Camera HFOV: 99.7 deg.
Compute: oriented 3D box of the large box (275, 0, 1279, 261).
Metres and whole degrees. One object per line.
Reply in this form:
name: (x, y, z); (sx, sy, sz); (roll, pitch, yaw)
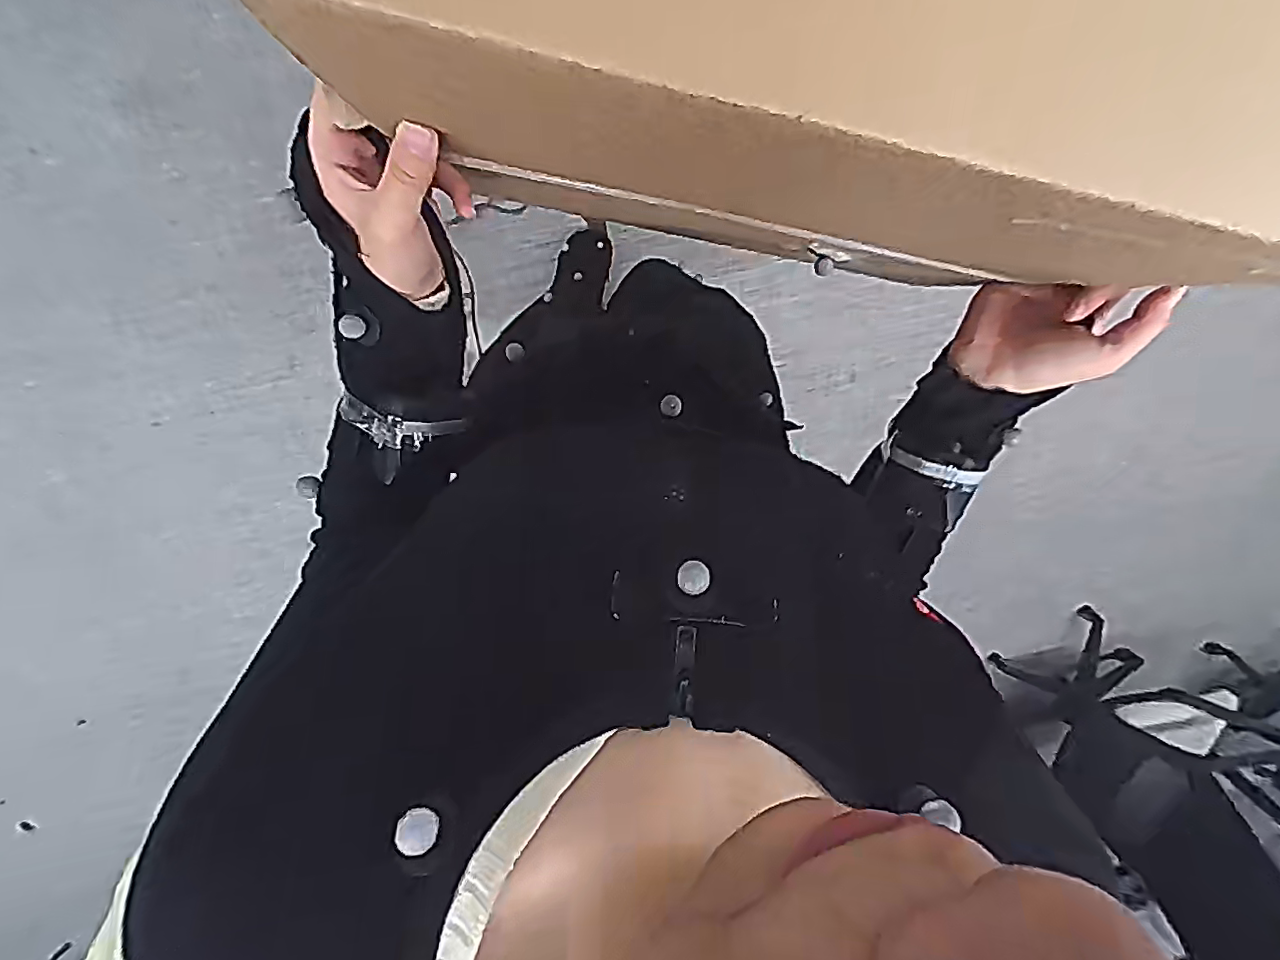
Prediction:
large box: (0.090, -0.303, 0.251); (0.408, 0.320, 0.320); (5, 110, -10)
